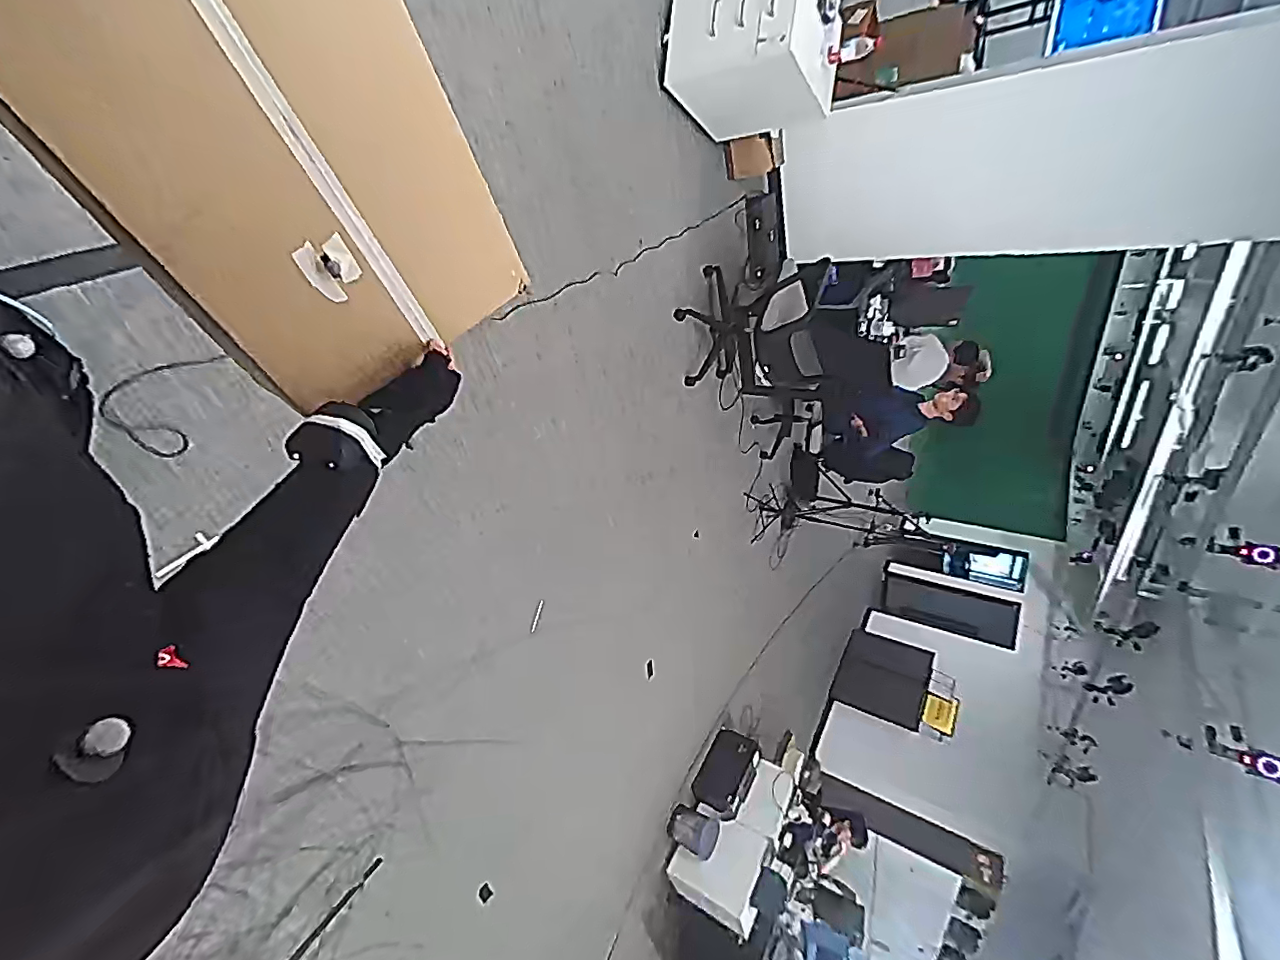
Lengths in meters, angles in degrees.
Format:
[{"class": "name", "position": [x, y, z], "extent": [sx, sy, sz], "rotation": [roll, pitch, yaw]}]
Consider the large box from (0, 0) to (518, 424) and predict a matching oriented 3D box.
[{"class": "large box", "position": [-0.416, -0.341, 0.598], "extent": [0.320, 0.320, 0.408], "rotation": [-46, 141, -21]}]
